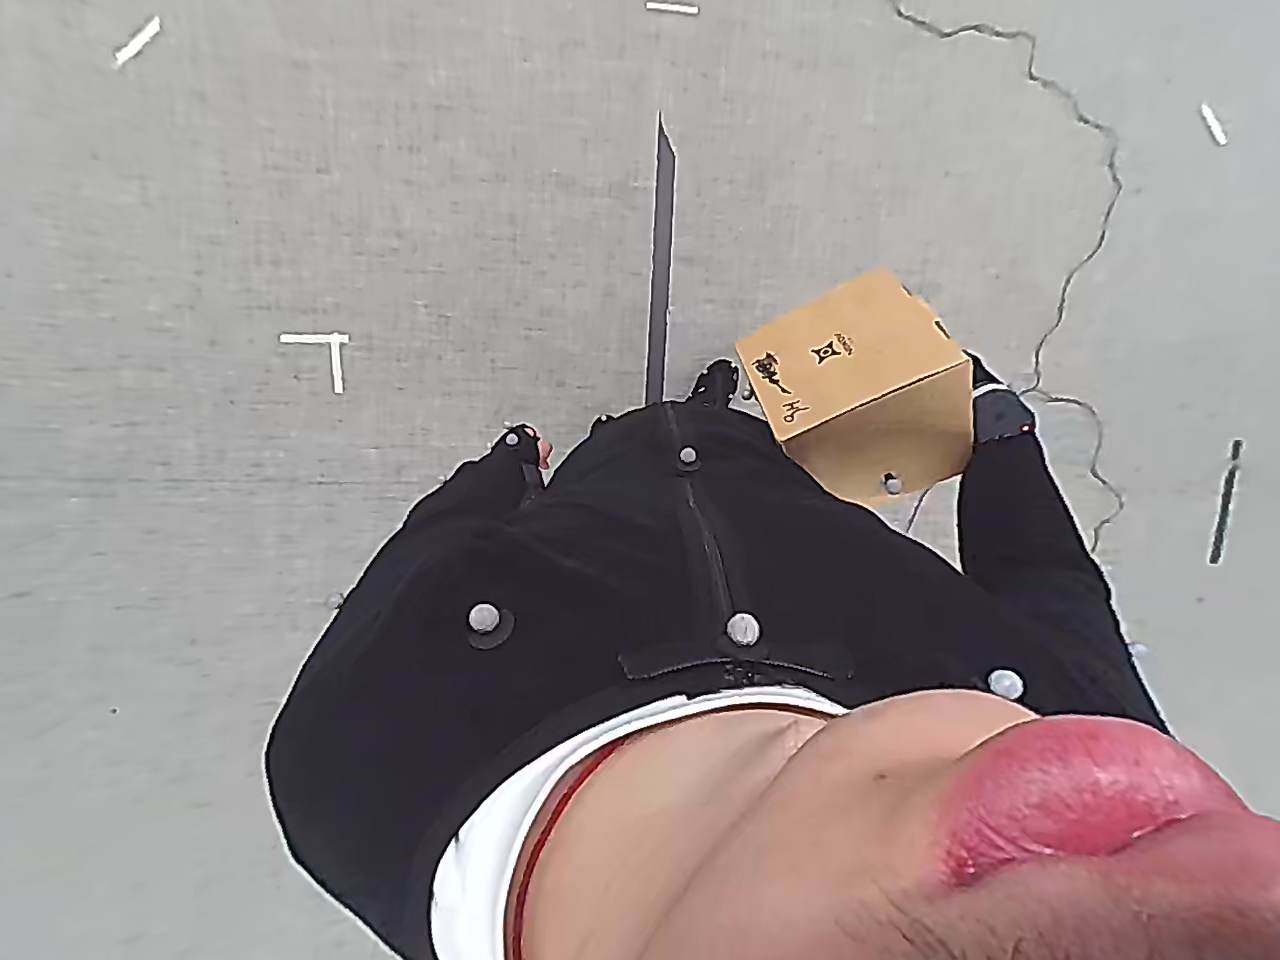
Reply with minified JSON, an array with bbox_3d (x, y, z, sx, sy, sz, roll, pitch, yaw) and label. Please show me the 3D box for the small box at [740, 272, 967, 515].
[{"bbox_3d":[0.236,-0.089,0.608,0.179,0.168,0.176,-24,137,14],"label":"small box"}]
